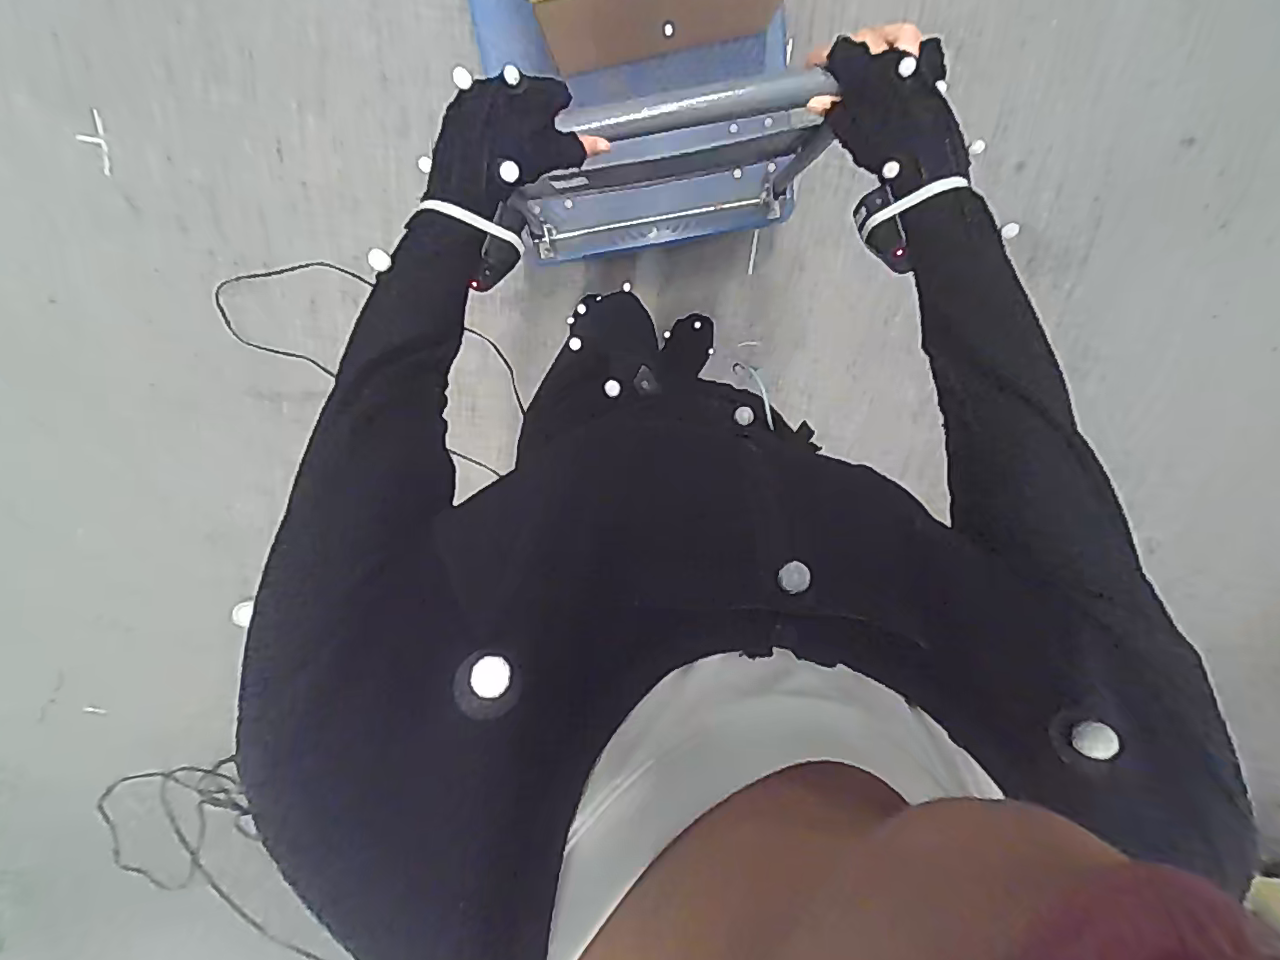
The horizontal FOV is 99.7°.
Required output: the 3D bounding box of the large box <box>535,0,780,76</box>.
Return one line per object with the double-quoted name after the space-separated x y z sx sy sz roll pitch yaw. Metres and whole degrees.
0.020 -0.912 0.855 0.408 0.320 0.320 -10 109 5 "large box"
